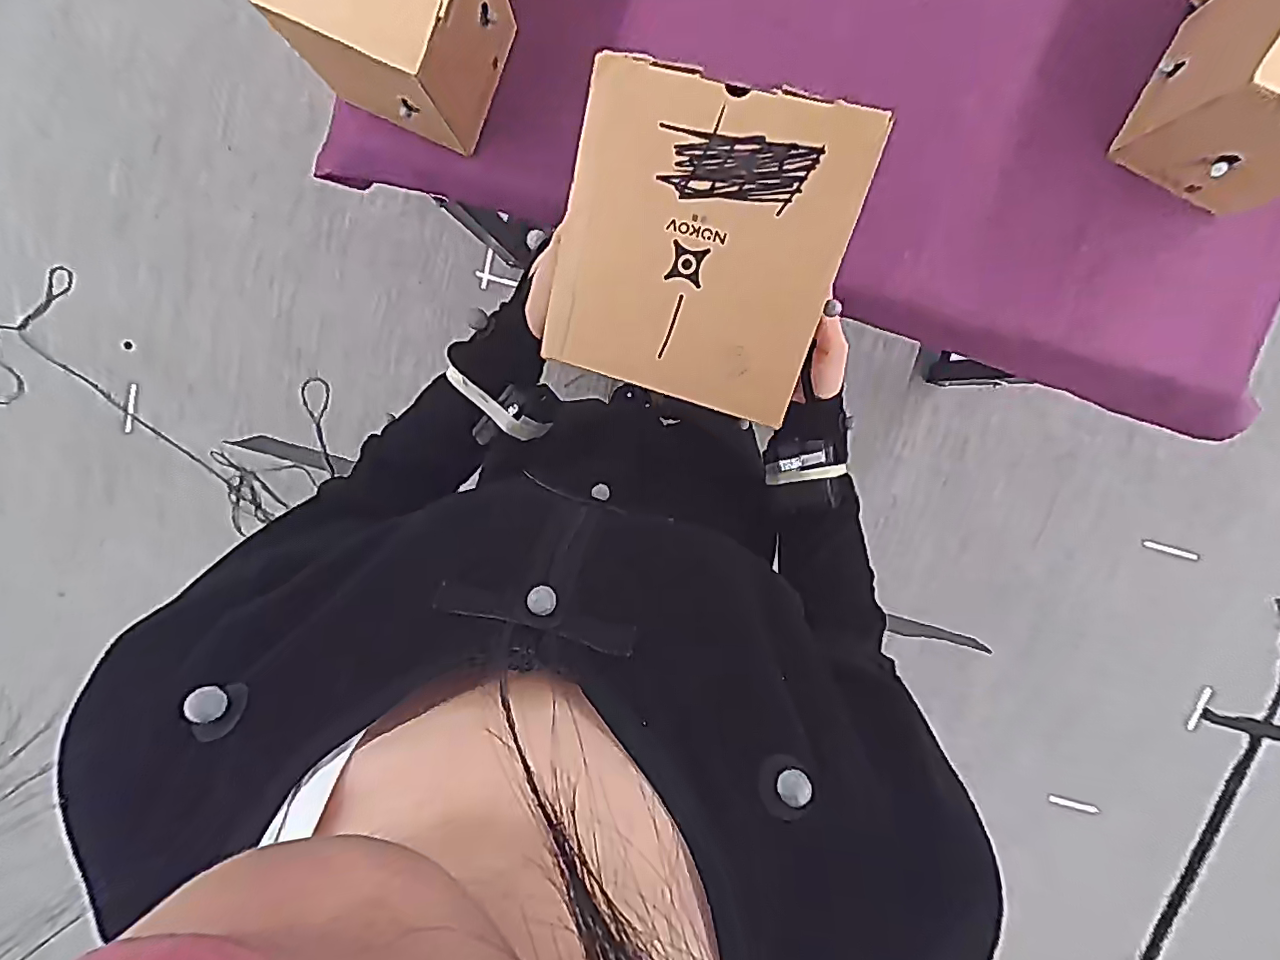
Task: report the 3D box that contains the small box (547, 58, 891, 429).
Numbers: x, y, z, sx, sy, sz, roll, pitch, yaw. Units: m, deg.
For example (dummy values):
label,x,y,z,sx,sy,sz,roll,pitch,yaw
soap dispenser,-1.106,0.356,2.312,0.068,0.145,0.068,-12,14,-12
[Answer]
label,x,y,z,sx,sy,sz,roll,pitch,yaw
small box,0.054,-0.157,0.398,0.168,0.176,0.179,19,110,8
